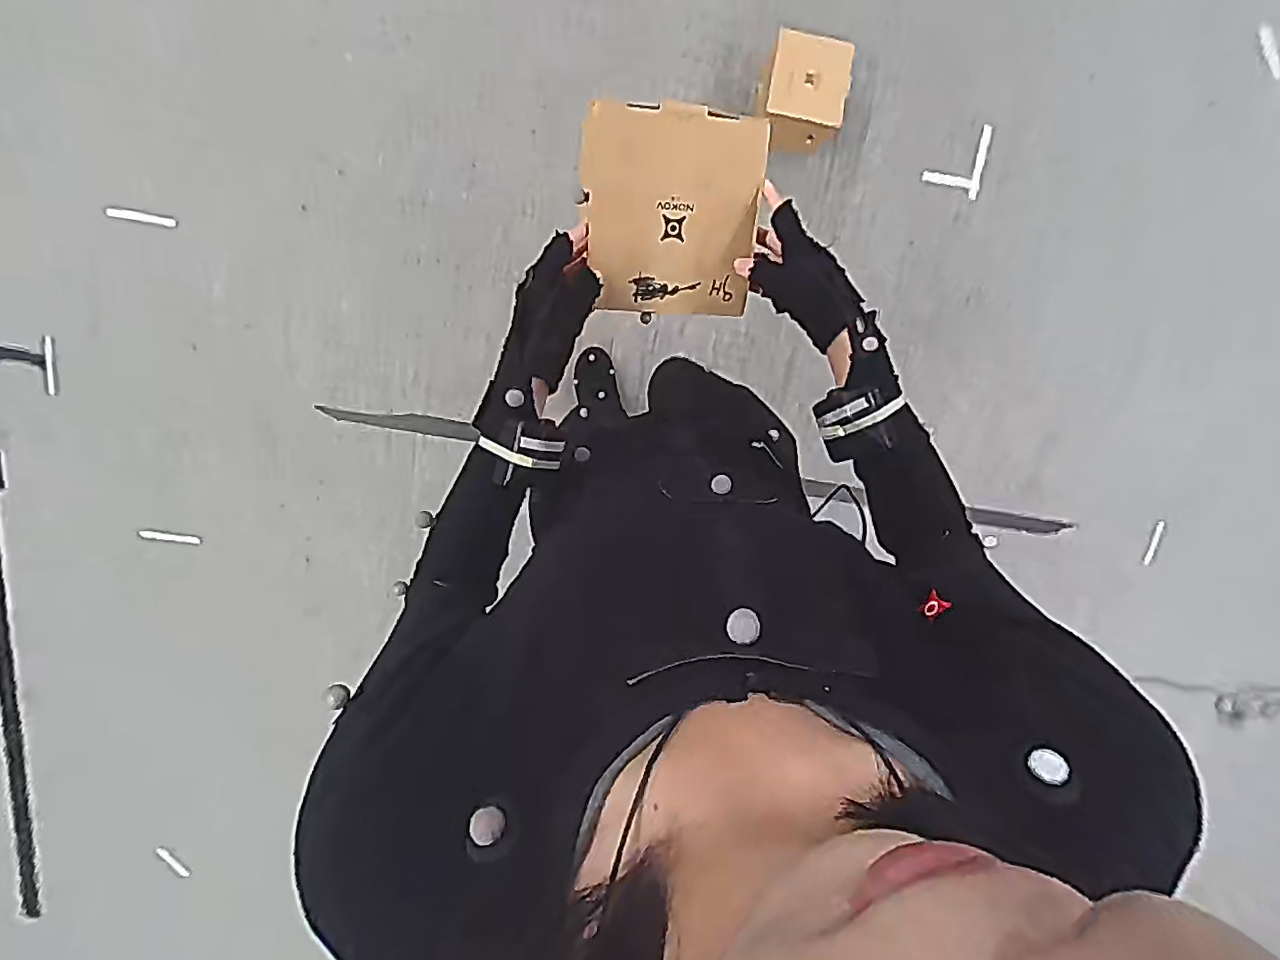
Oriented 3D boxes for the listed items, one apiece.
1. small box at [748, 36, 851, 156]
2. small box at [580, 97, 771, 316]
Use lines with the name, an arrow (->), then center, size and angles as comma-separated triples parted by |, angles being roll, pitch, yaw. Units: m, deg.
small box -> 0.361, -0.887, 1.267 | 0.179, 0.176, 0.168 | 7, 101, -5
small box -> 0.023, -0.284, 0.588 | 0.168, 0.176, 0.179 | 1, 114, -10
